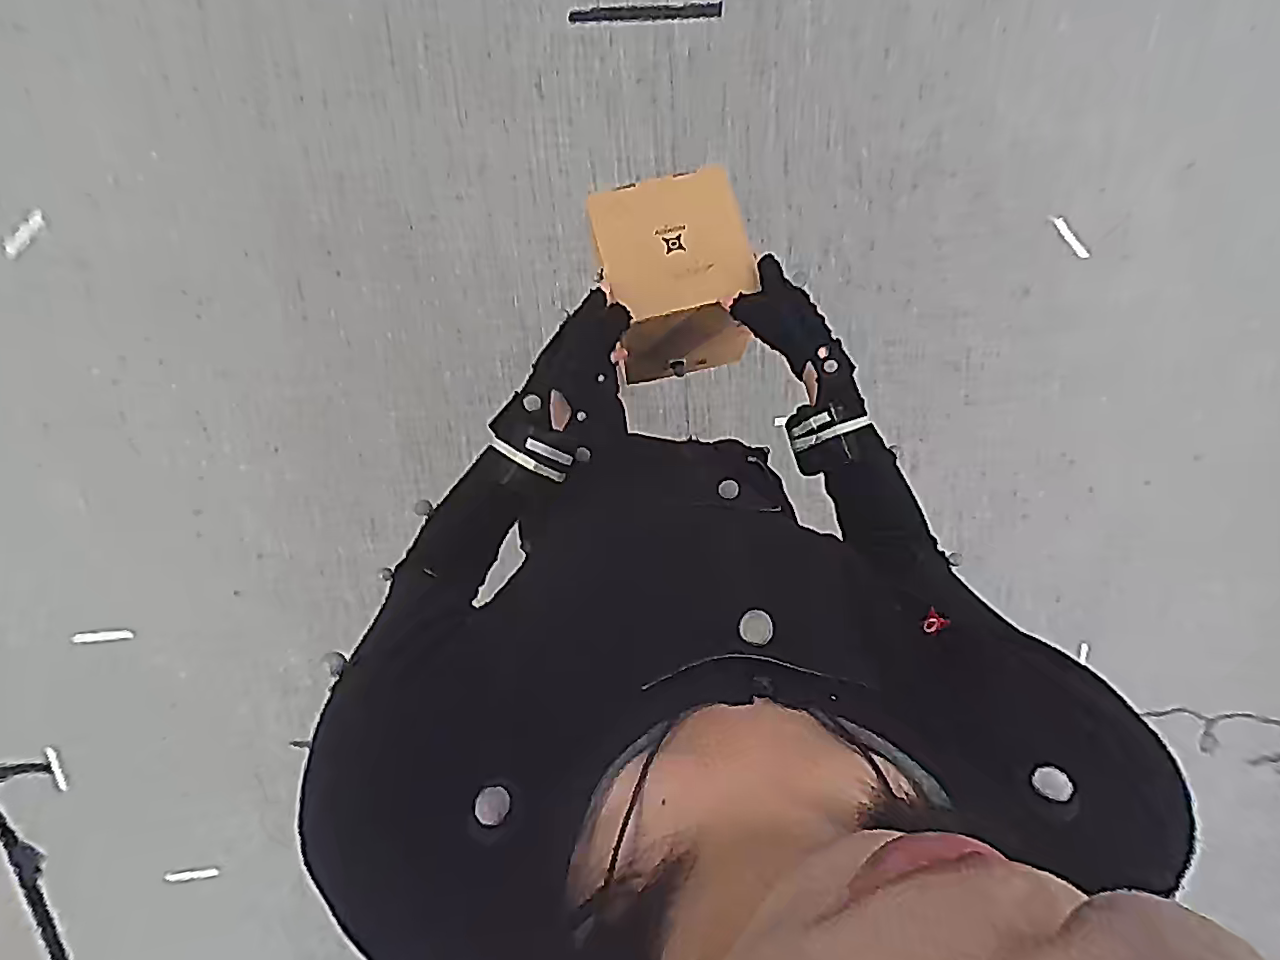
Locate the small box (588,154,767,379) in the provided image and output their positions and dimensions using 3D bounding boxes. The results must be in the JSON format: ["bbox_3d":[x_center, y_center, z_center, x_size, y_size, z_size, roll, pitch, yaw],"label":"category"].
[{"bbox_3d":[0.039,-0.252,0.669,0.168,0.176,0.179,-14,75,-1],"label":"small box"}]
